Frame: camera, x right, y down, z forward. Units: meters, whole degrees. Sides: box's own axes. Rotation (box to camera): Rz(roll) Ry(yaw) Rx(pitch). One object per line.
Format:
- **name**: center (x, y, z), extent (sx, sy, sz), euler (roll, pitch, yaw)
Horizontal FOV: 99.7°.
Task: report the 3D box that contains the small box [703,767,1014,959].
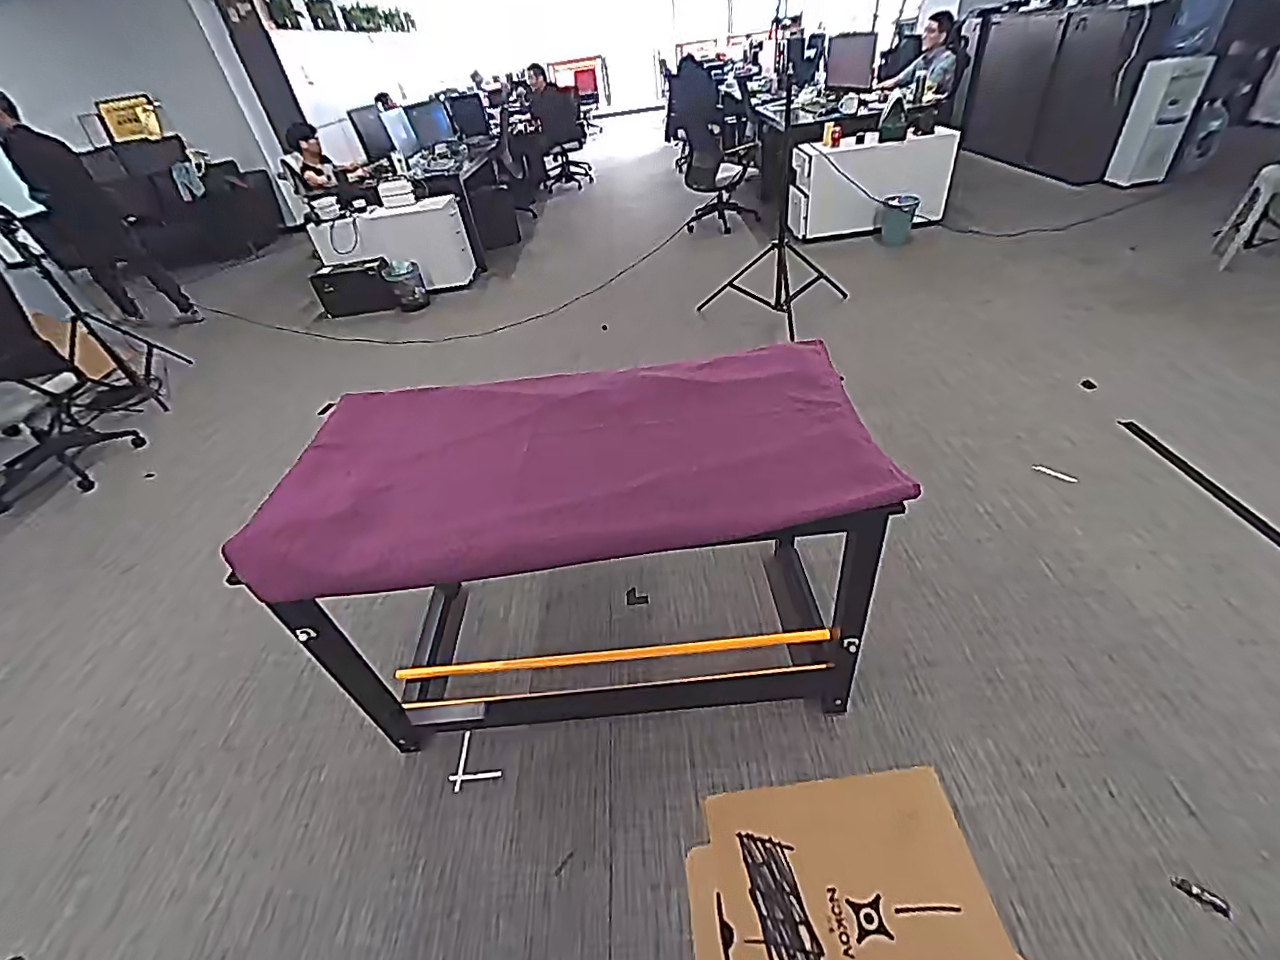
- **small box**: center (0.151, 0.341, 0.406), extent (0.179, 0.176, 0.168), euler (-9, 43, 2)
